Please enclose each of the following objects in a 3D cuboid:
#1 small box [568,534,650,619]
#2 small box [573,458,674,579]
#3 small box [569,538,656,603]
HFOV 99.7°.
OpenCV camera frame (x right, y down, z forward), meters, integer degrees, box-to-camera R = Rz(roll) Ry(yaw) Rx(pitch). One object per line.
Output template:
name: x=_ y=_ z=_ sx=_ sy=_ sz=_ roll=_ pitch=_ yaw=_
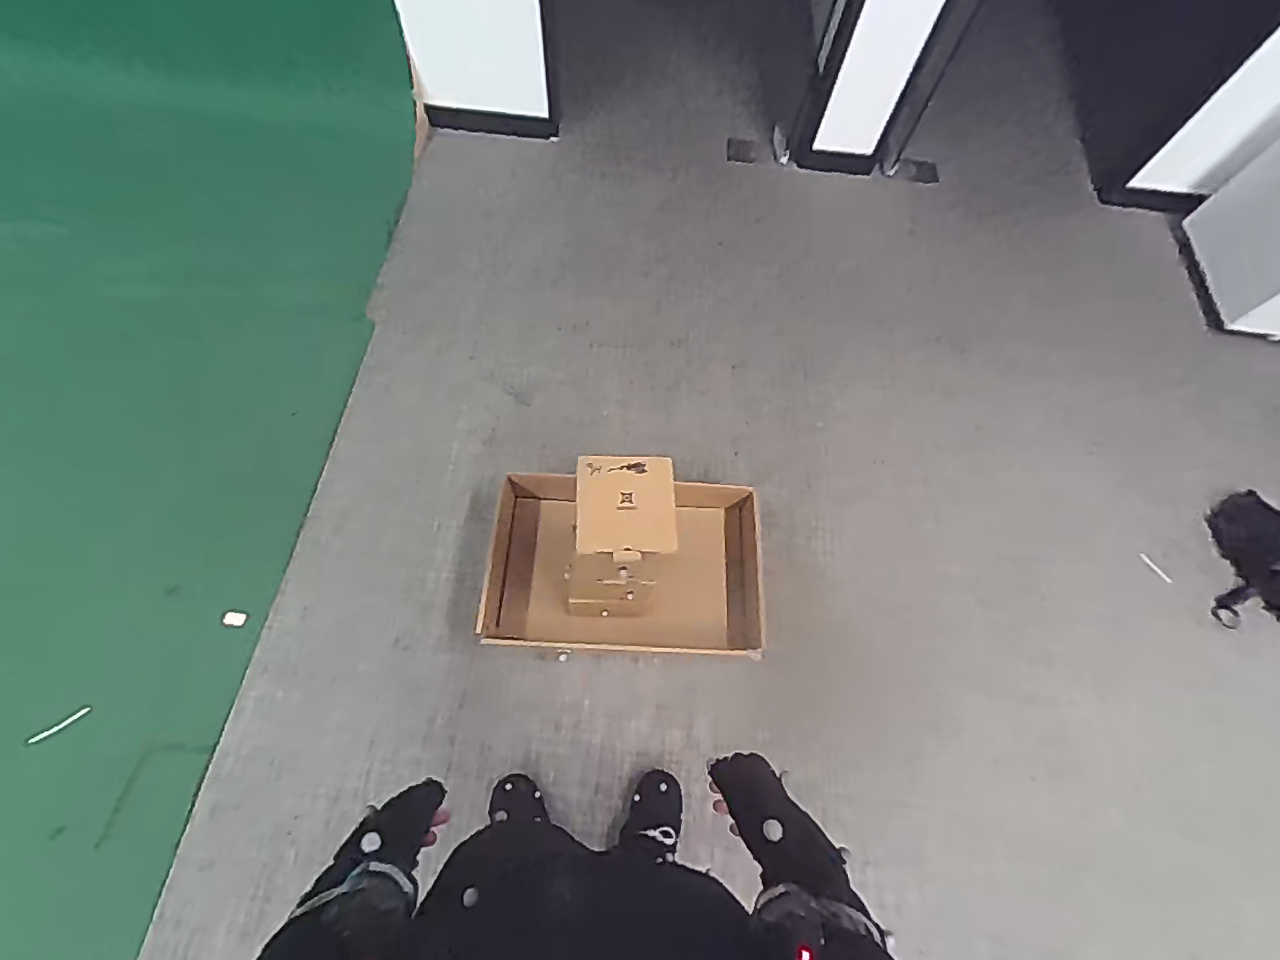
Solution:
small box: x=-0.071 y=0.225 z=1.258 sx=0.179 sy=0.176 sz=0.168 roll=2 pitch=65 yaw=-3
small box: x=-0.032 y=0.077 z=0.972 sx=0.168 sy=0.176 sz=0.179 roll=2 pitch=66 yaw=-5
small box: x=-0.054 y=0.150 z=1.117 sx=0.168 sy=0.176 sz=0.179 roll=4 pitch=63 yaw=-5
